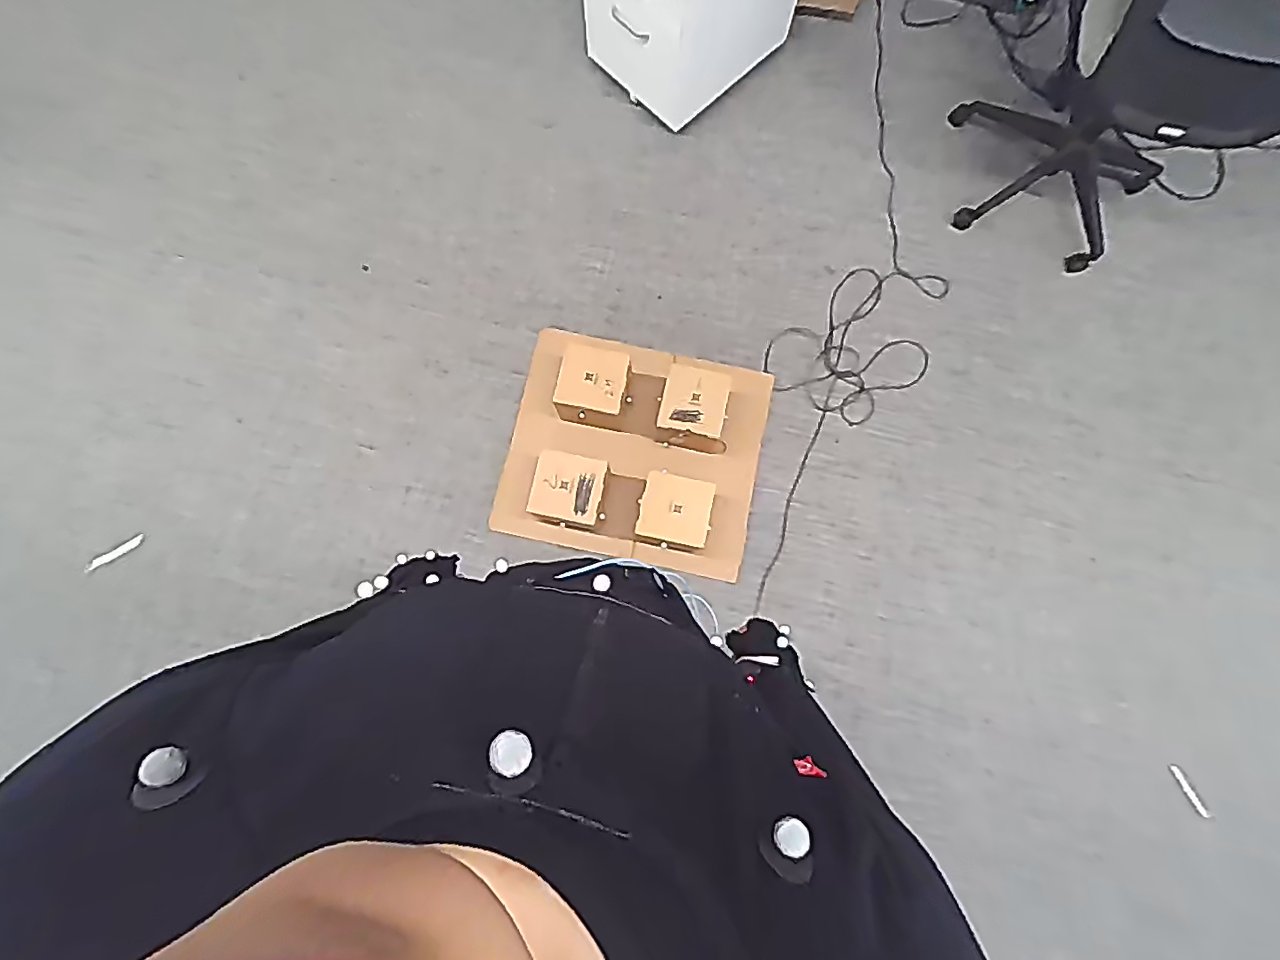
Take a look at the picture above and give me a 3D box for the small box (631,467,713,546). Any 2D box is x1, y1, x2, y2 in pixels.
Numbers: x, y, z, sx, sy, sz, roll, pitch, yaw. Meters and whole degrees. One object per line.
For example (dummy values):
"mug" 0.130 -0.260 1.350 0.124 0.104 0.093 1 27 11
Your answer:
"small box" 0.081 0.075 1.421 0.179 0.176 0.168 13 80 4
